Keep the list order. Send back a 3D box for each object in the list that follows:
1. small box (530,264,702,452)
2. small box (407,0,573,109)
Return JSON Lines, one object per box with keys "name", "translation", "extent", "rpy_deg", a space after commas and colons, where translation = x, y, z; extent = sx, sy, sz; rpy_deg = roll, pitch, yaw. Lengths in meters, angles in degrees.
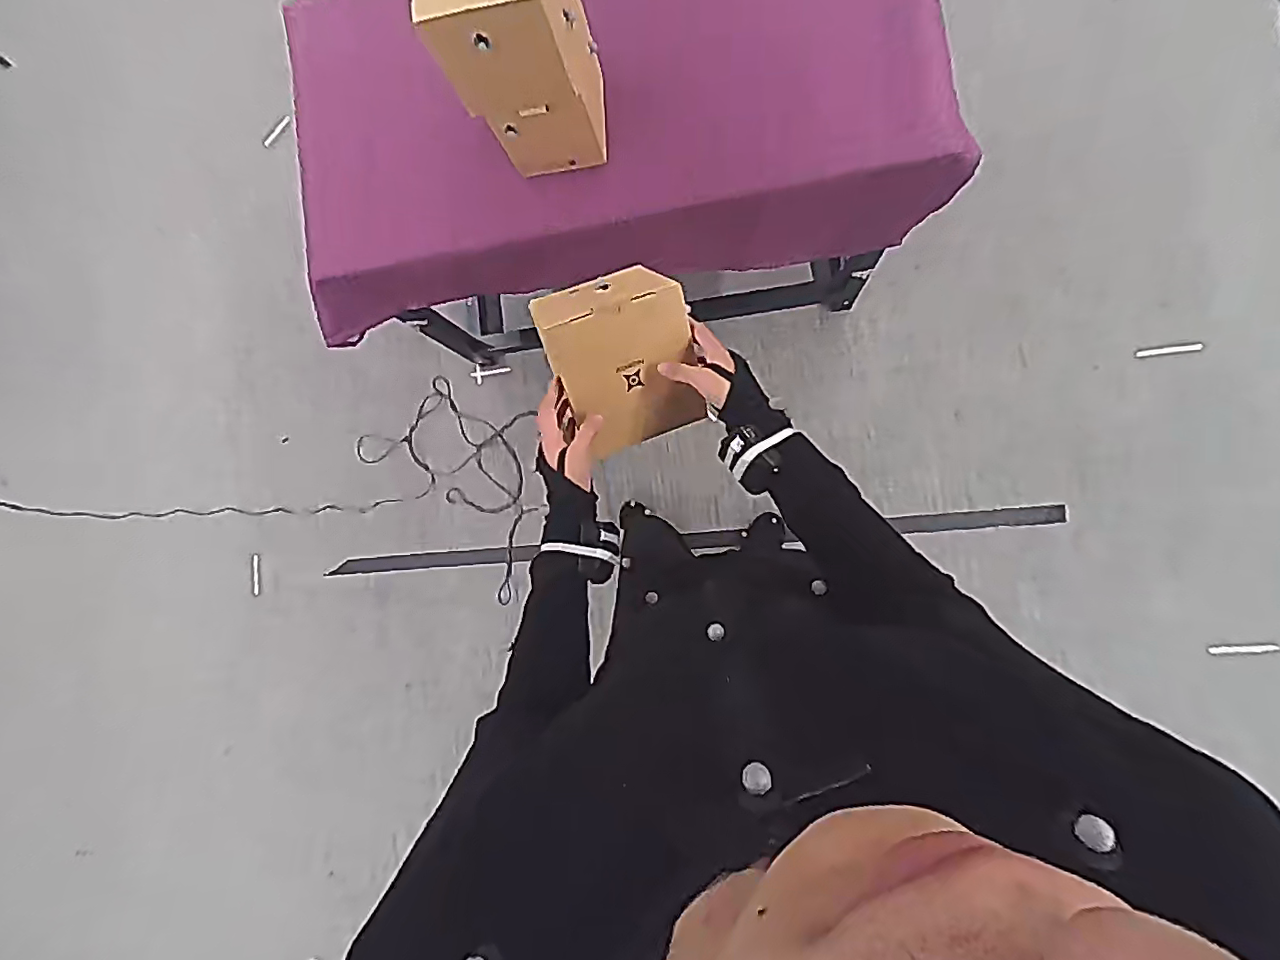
{"name": "small box", "translation": [-0.035, -0.167, 0.713], "extent": [0.168, 0.176, 0.179], "rpy_deg": [-21, 120, -7]}
{"name": "small box", "translation": [-0.203, -0.664, 0.762], "extent": [0.179, 0.176, 0.168], "rpy_deg": [-3, 86, 9]}
